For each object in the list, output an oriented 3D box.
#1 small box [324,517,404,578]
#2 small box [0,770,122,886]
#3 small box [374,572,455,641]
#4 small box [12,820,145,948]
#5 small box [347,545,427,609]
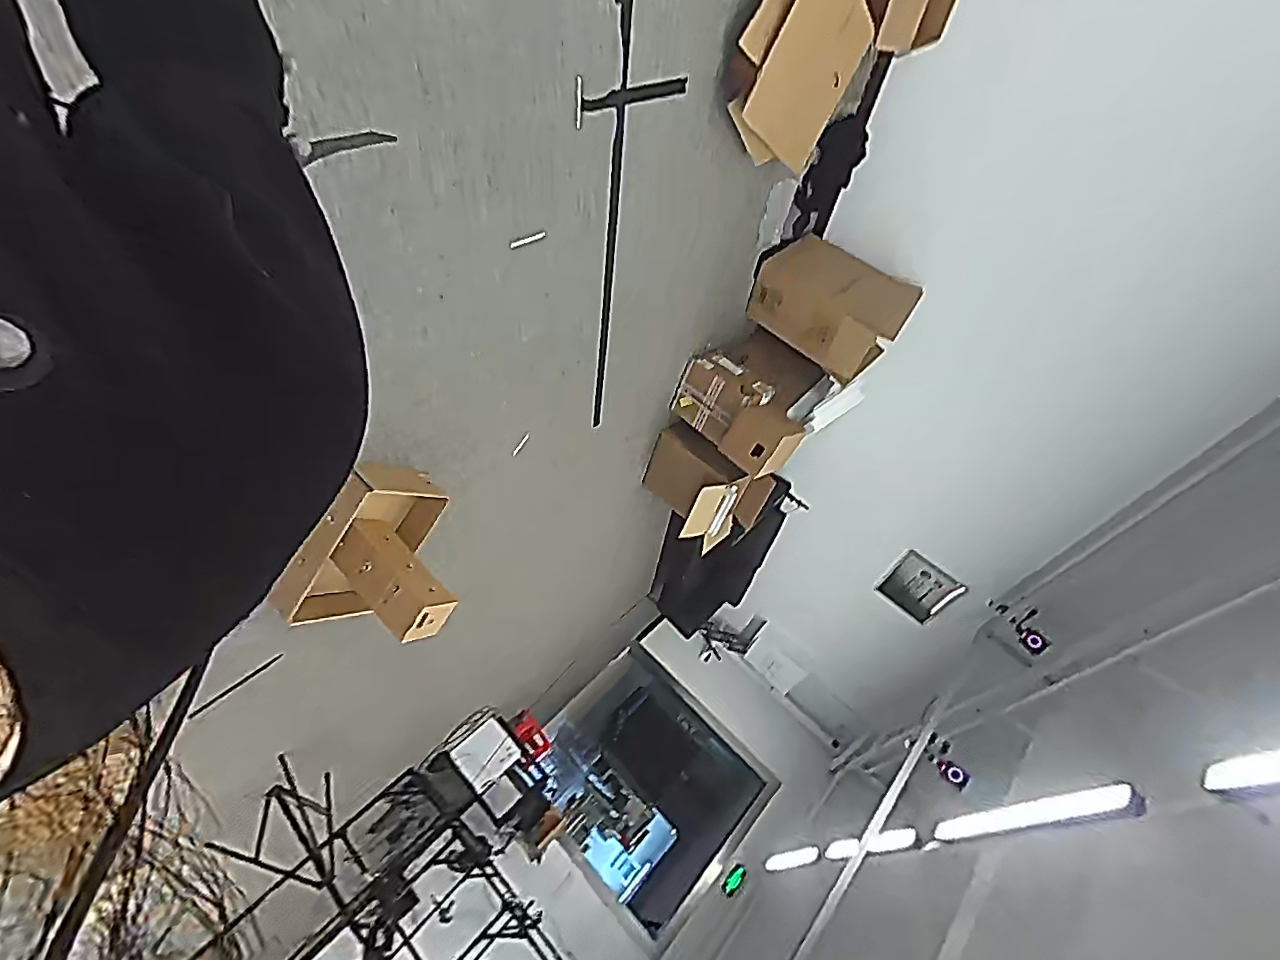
[{"bbox_3d":[-1.057,0.257,2.067,0.168,0.176,0.179,-53,159,6],"label":"small box"},{"bbox_3d":[-1.550,0.908,1.437,0.179,0.176,0.168,-52,159,5],"label":"small box"},{"bbox_3d":[-0.818,0.451,1.958,0.168,0.176,0.179,-54,160,9],"label":"small box"},{"bbox_3d":[-1.436,1.013,1.382,0.179,0.176,0.168,-53,158,5],"label":"small box"},{"bbox_3d":[-0.940,0.354,2.012,0.168,0.176,0.179,-54,158,7],"label":"small box"}]
